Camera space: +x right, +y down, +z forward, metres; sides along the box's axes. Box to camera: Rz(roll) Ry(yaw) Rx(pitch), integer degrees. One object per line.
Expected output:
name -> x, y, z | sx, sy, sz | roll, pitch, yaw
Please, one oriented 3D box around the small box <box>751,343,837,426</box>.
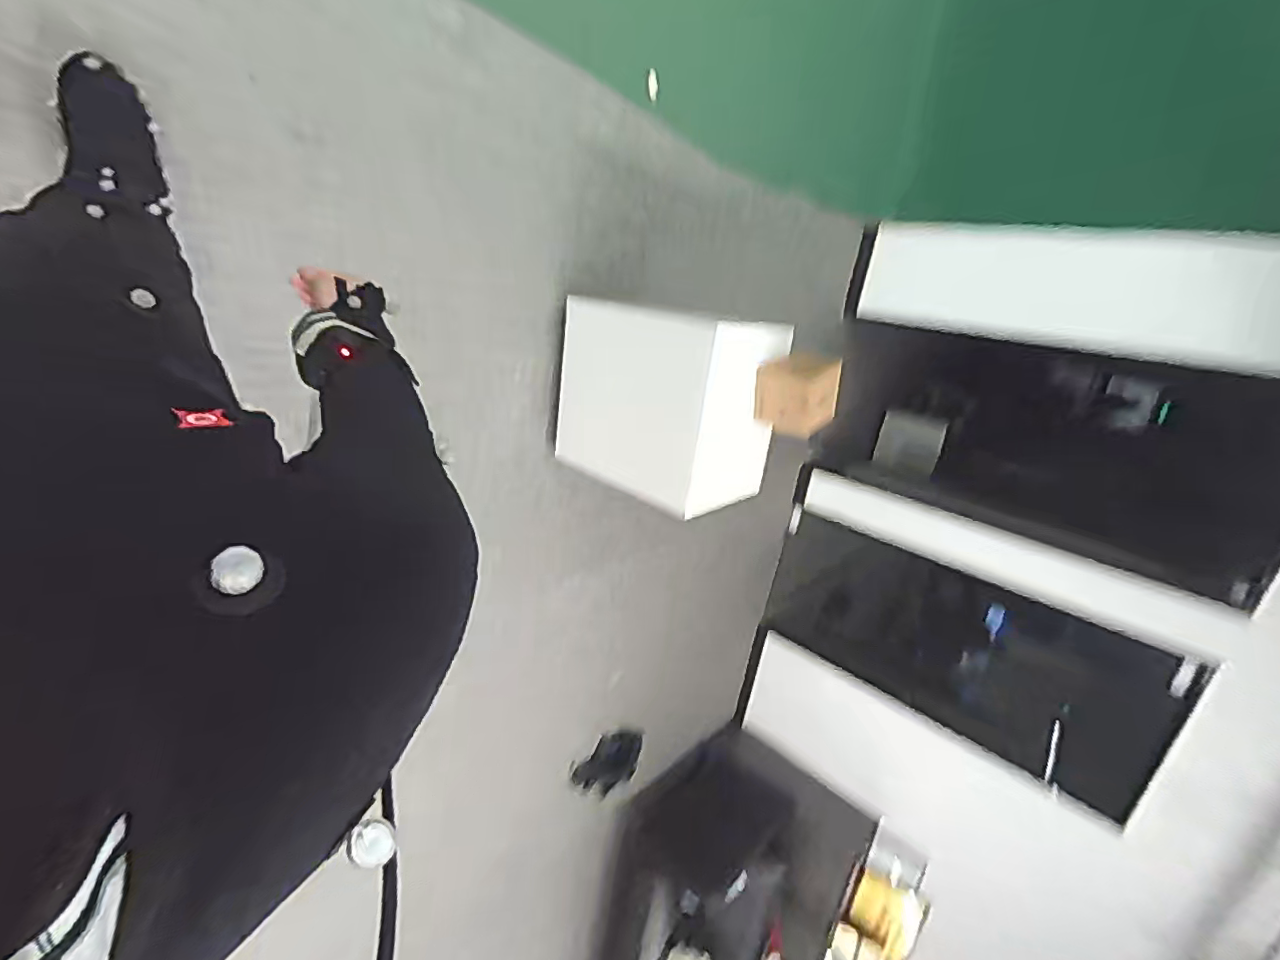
small box -> 0.431, -0.275, 1.532 | 0.179, 0.176, 0.168 | -34, 134, -36
